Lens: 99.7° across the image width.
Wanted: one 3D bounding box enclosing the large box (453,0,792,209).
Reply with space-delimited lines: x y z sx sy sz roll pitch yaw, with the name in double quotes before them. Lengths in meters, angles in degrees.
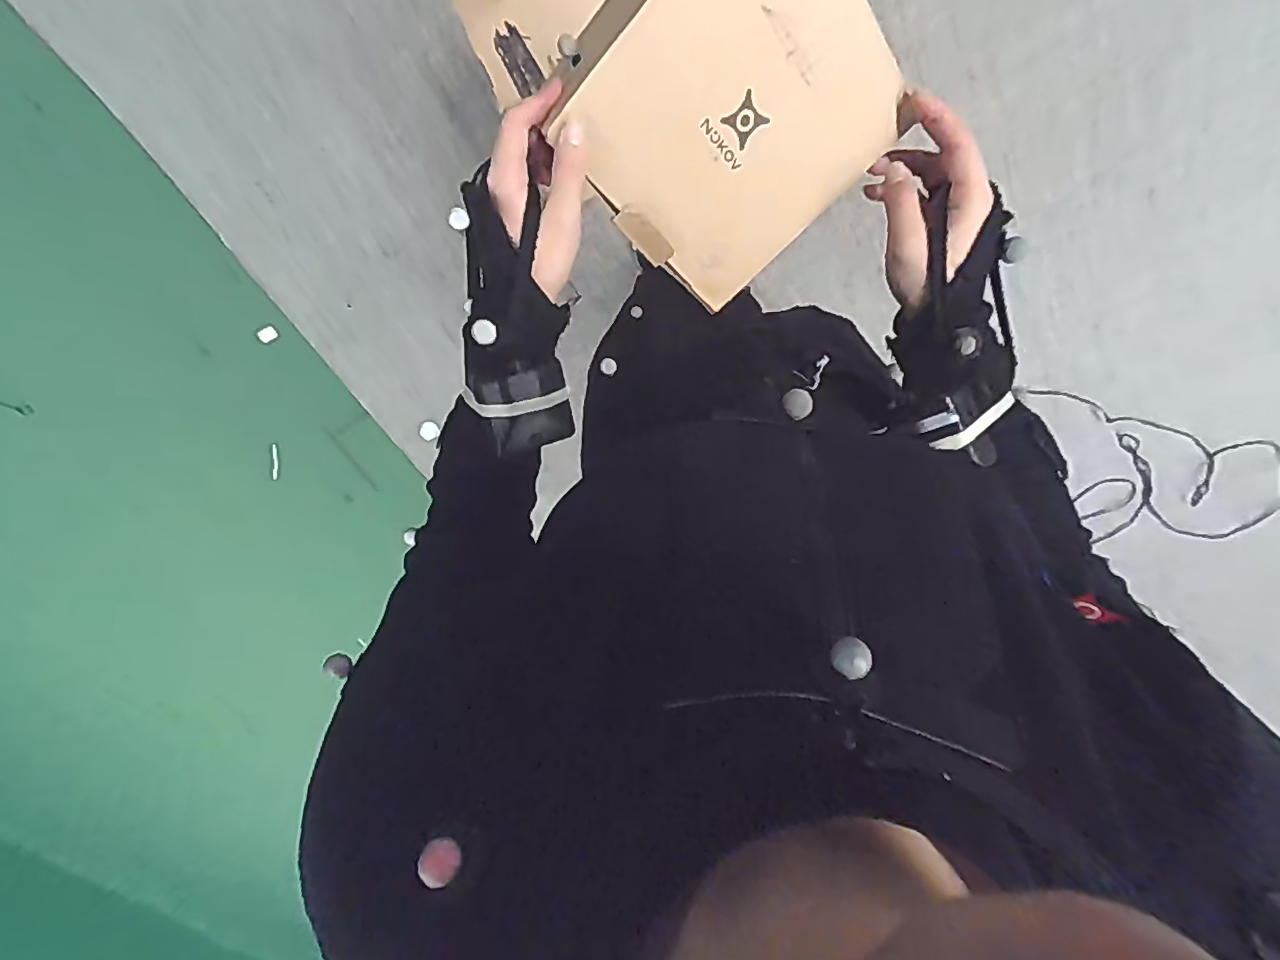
"large box" -0.018 -0.703 0.895 0.408 0.320 0.320 -23 117 14
